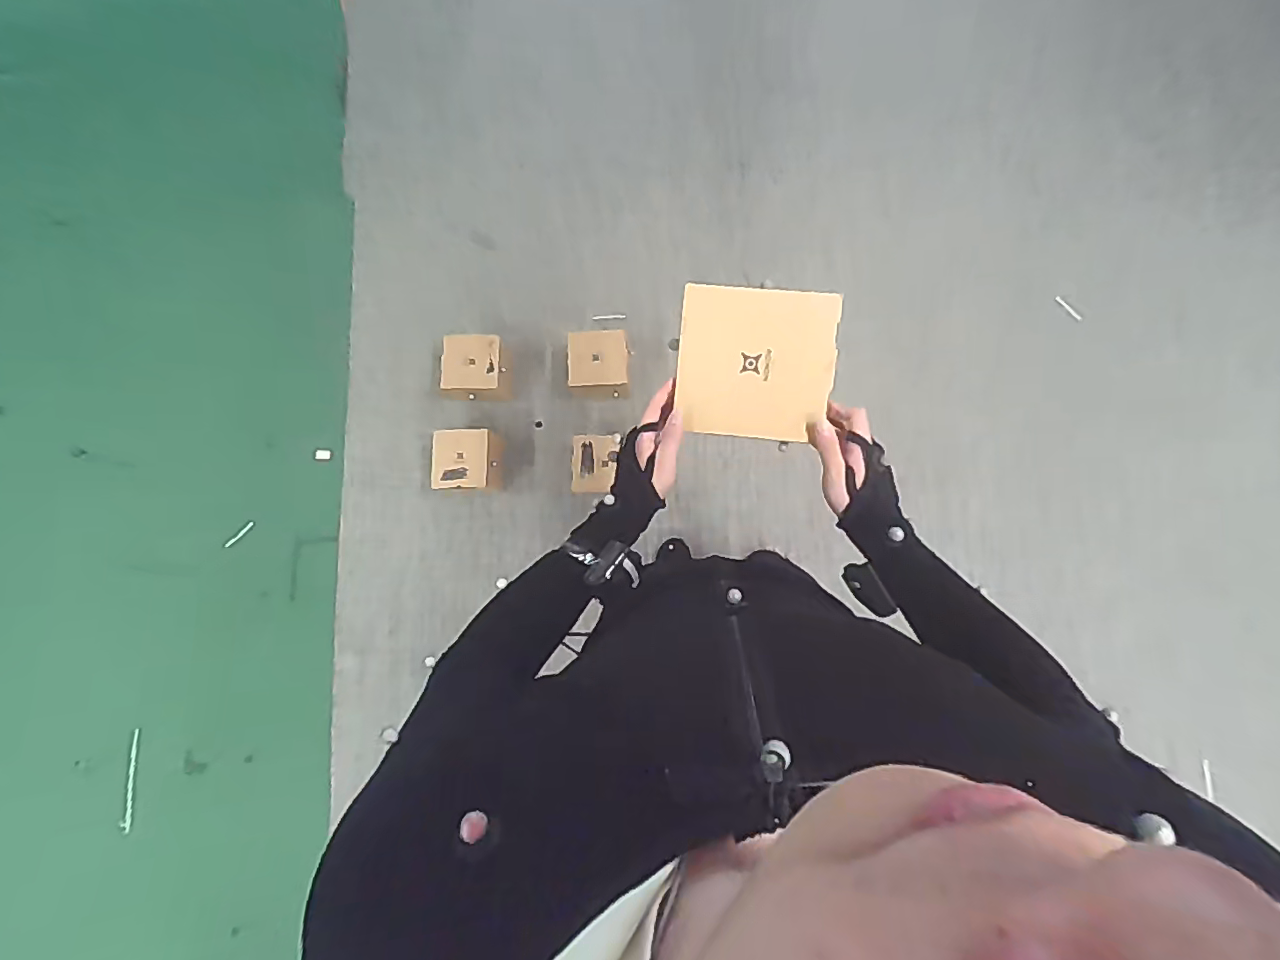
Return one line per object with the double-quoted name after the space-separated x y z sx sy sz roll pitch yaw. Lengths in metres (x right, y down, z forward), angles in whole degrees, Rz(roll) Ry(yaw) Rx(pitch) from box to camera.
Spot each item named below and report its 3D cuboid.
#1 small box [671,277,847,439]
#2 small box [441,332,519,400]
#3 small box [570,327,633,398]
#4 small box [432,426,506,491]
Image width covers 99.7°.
0.135 -0.143 0.673 0.179 0.176 0.168 5 98 3 "small box"
-0.488 -0.347 1.664 0.179 0.176 0.168 1 84 5 "small box"
-0.111 -0.351 1.637 0.179 0.176 0.168 -1 82 4 "small box"
-0.509 -0.060 1.631 0.168 0.176 0.179 0 83 4 "small box"
